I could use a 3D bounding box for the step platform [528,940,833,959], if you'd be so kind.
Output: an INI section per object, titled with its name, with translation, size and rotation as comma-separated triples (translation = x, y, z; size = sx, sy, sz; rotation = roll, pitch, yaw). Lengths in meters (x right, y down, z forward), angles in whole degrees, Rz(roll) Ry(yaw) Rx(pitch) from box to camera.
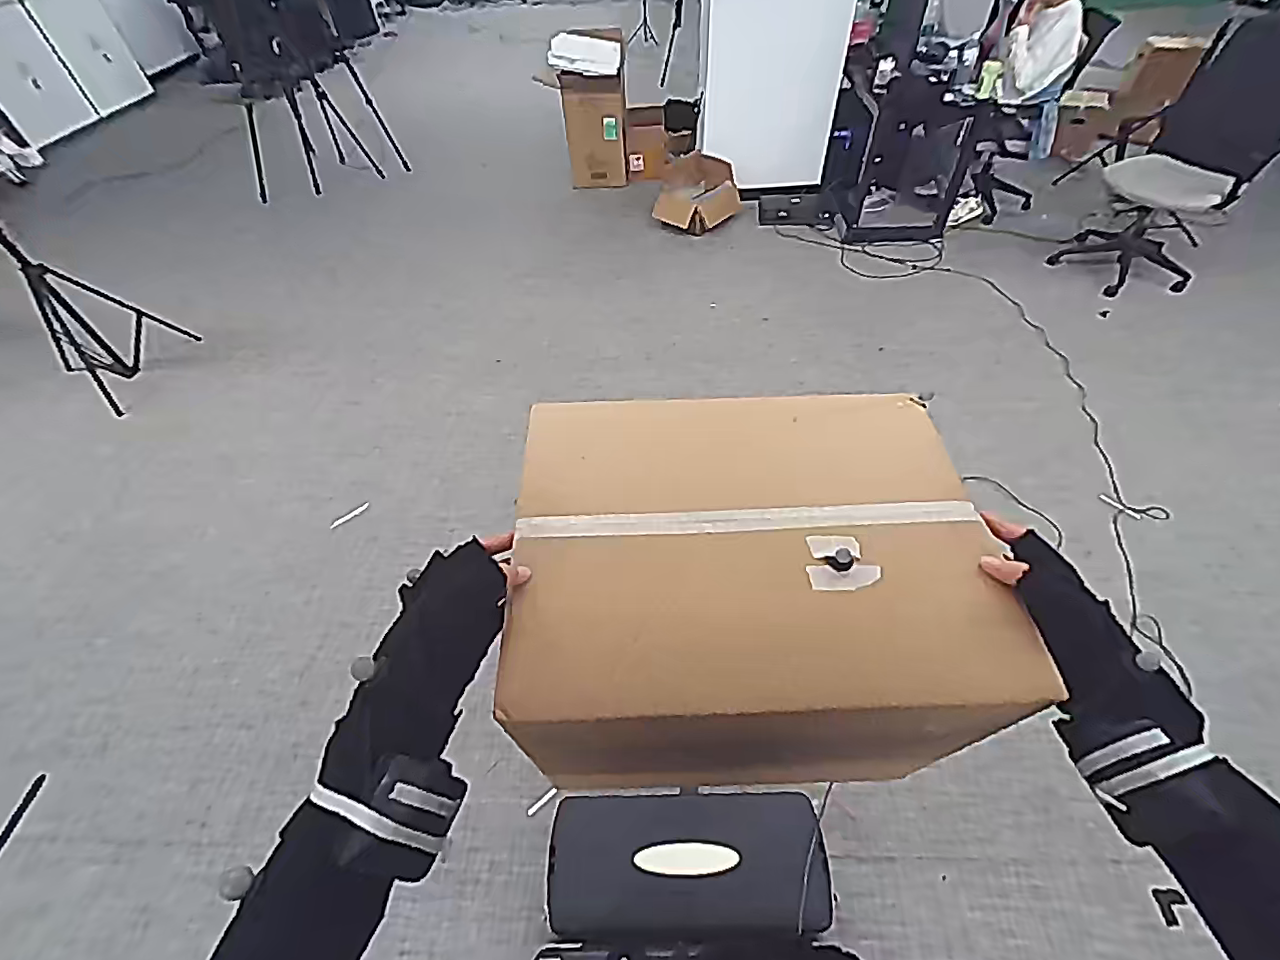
[step platform]
translation = 0.085, 1.130, 1.098
size = 0.684, 0.204, 0.286
rotation = -3, 49, 2

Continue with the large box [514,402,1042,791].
[large box]
translation = 0.095, 0.136, 0.603
size = 0.408, 0.320, 0.320
rotation = -2, 53, -1
